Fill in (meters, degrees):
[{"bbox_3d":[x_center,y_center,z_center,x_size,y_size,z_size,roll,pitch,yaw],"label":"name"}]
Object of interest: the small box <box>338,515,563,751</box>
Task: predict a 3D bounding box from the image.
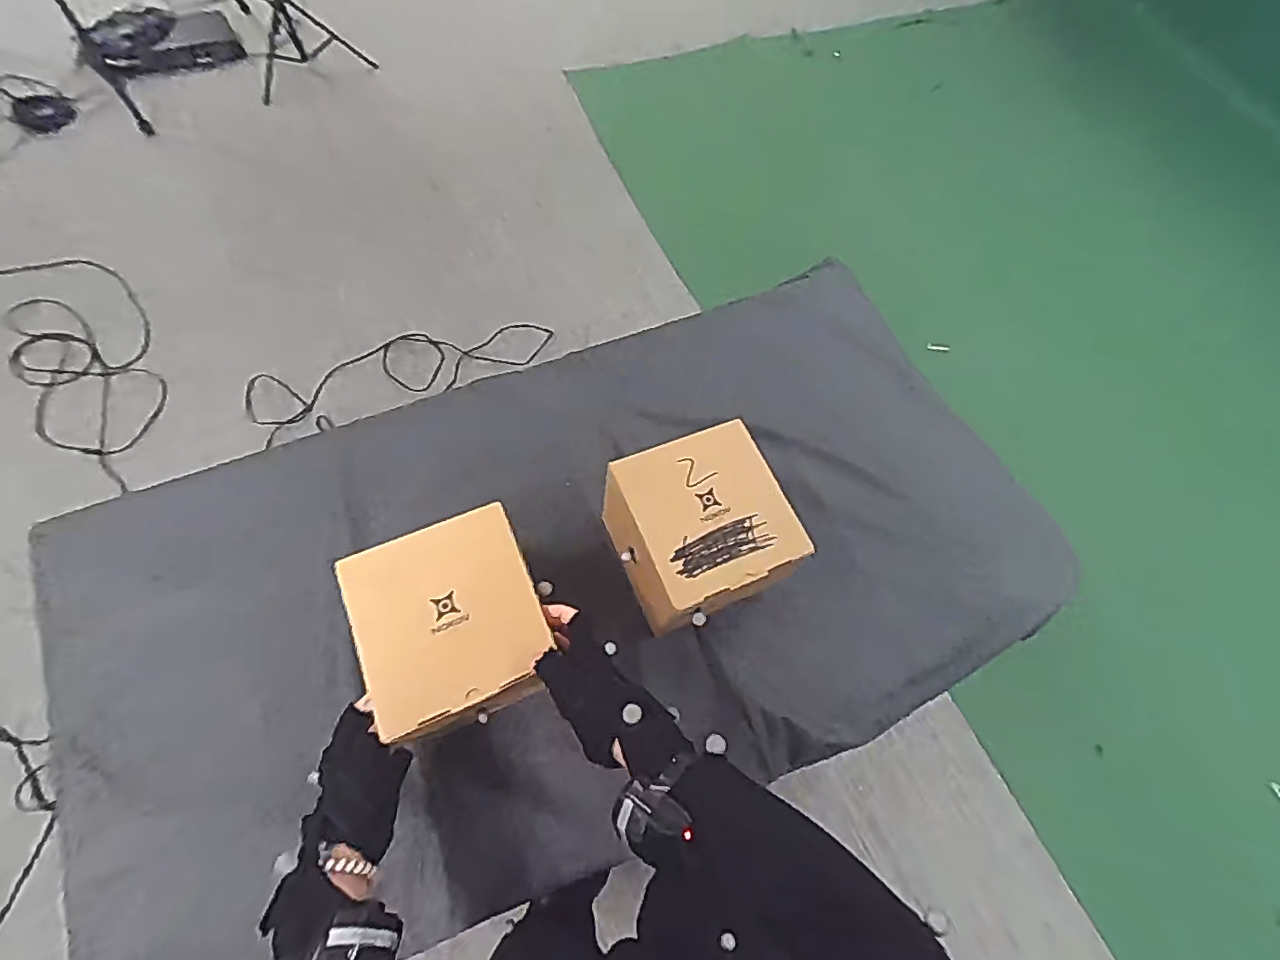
[{"bbox_3d":[-0.190,0.167,0.580,0.168,0.176,0.179,-21,70,-15],"label":"small box"}]
